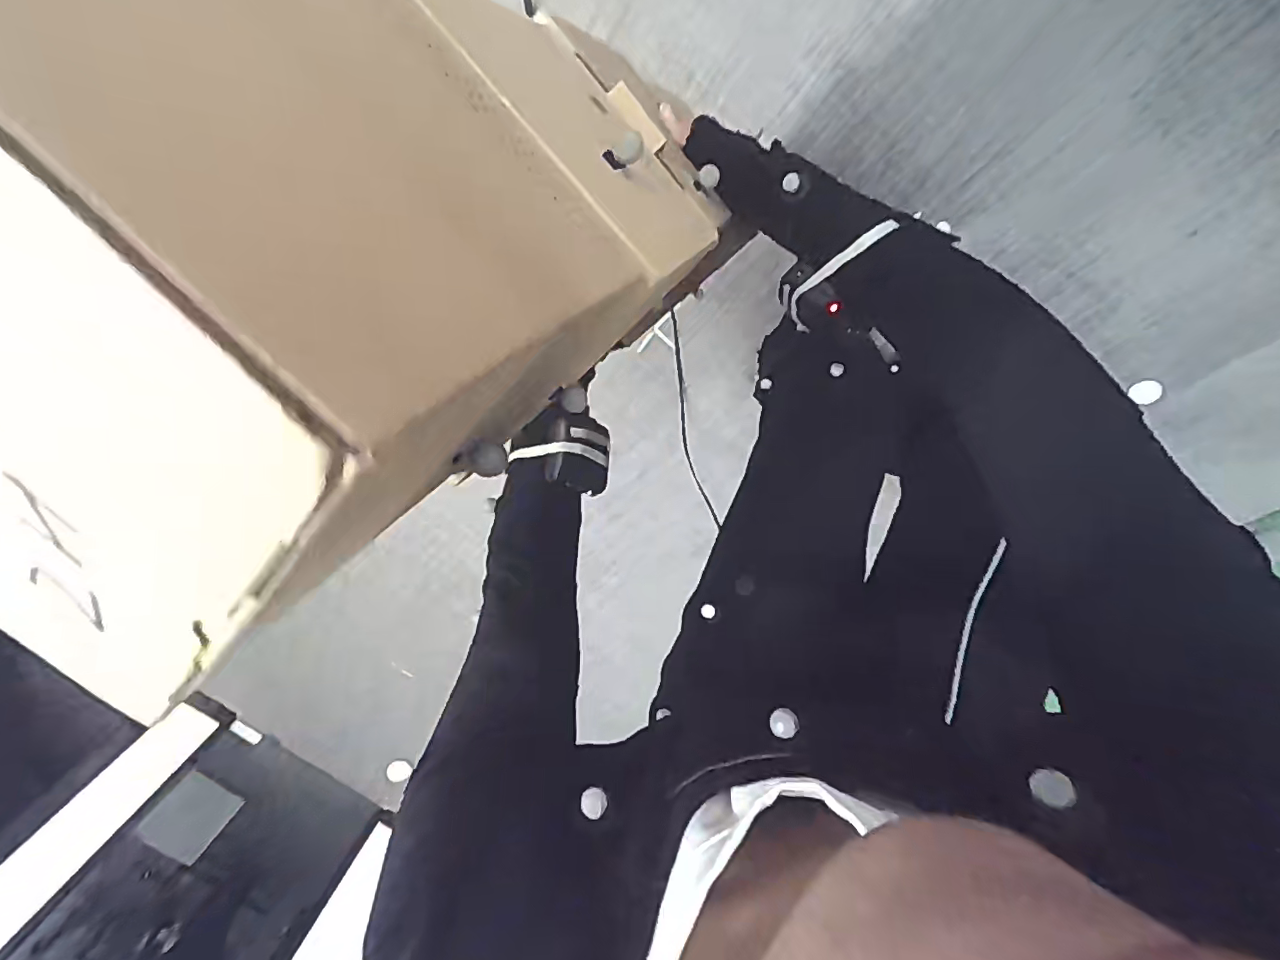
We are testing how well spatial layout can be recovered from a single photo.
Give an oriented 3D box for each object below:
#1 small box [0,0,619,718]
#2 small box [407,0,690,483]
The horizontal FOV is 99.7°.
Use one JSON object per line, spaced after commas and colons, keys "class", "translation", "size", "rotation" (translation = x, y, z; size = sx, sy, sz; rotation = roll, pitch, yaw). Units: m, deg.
{"class": "small box", "translation": [-0.136, -0.066, 0.177], "size": [0.168, 0.176, 0.179], "rotation": [-35, 105, 32]}
{"class": "small box", "translation": [-0.087, -0.137, 0.317], "size": [0.179, 0.176, 0.168], "rotation": [-36, 104, 32]}
